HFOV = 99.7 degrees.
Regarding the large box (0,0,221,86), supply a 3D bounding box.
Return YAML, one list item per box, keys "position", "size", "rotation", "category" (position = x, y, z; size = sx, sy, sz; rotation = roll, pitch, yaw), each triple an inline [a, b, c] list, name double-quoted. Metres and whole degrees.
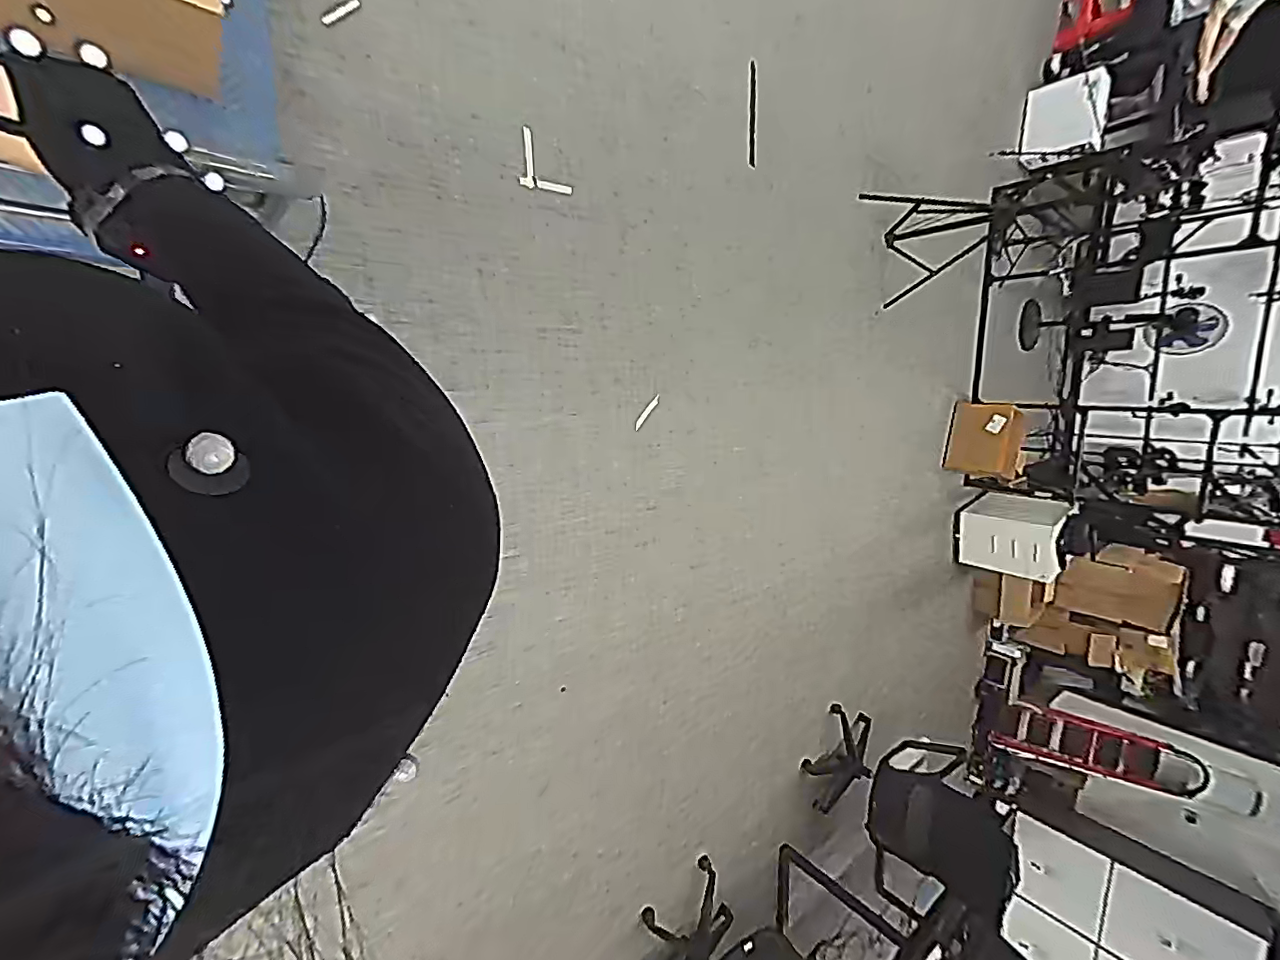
- position: [-0.825, -0.822, 0.722]
  size: [0.408, 0.320, 0.320]
  rotation: [-3, 99, -38]
  category: "large box"
